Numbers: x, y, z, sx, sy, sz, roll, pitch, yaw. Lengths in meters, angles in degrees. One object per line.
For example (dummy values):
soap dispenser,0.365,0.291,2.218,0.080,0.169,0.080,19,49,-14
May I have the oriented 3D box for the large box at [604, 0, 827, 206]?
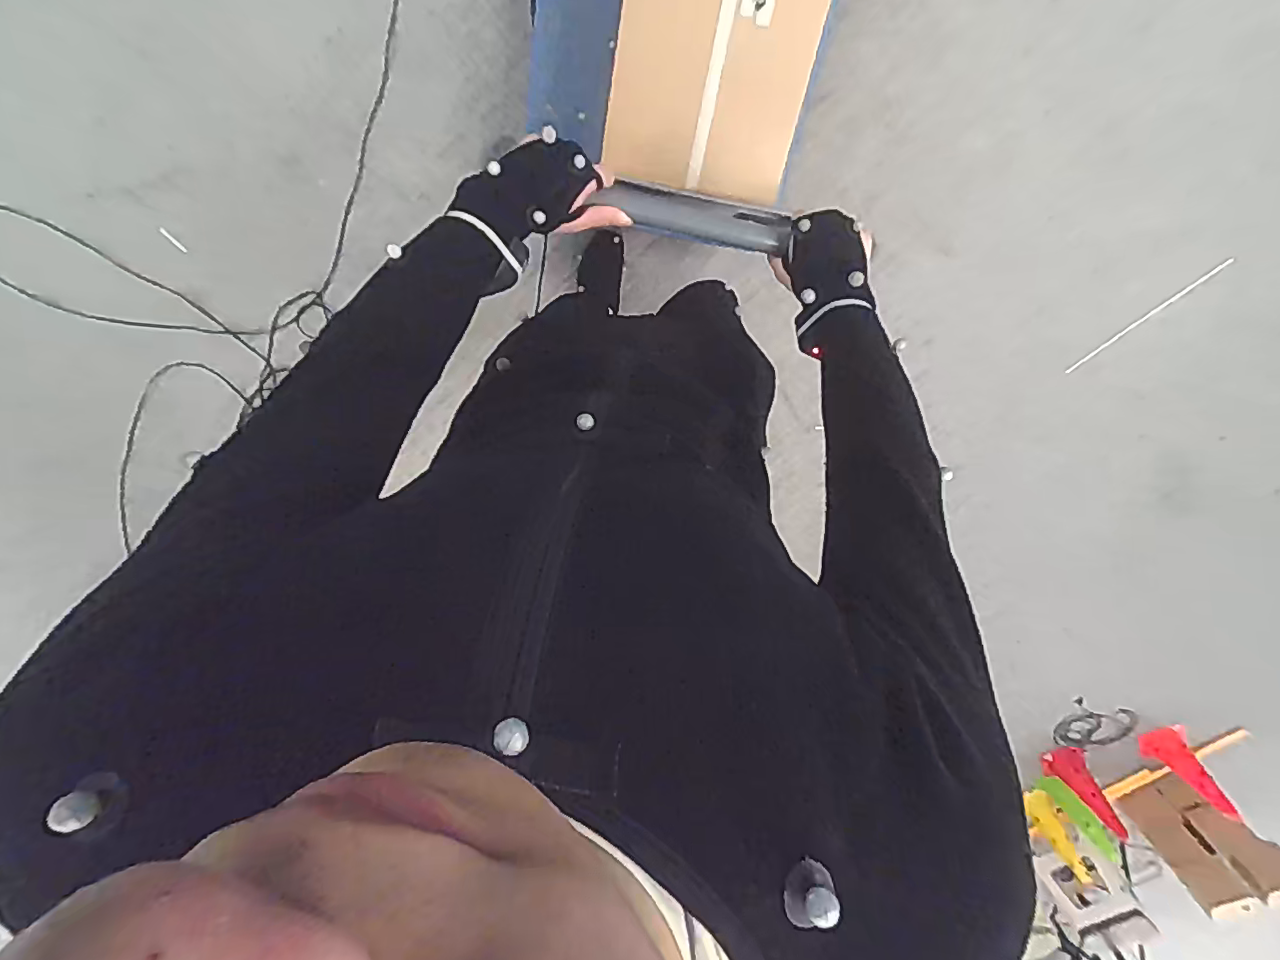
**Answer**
large box,0.116,-0.754,0.997,0.320,0.320,0.408,8,118,-8
